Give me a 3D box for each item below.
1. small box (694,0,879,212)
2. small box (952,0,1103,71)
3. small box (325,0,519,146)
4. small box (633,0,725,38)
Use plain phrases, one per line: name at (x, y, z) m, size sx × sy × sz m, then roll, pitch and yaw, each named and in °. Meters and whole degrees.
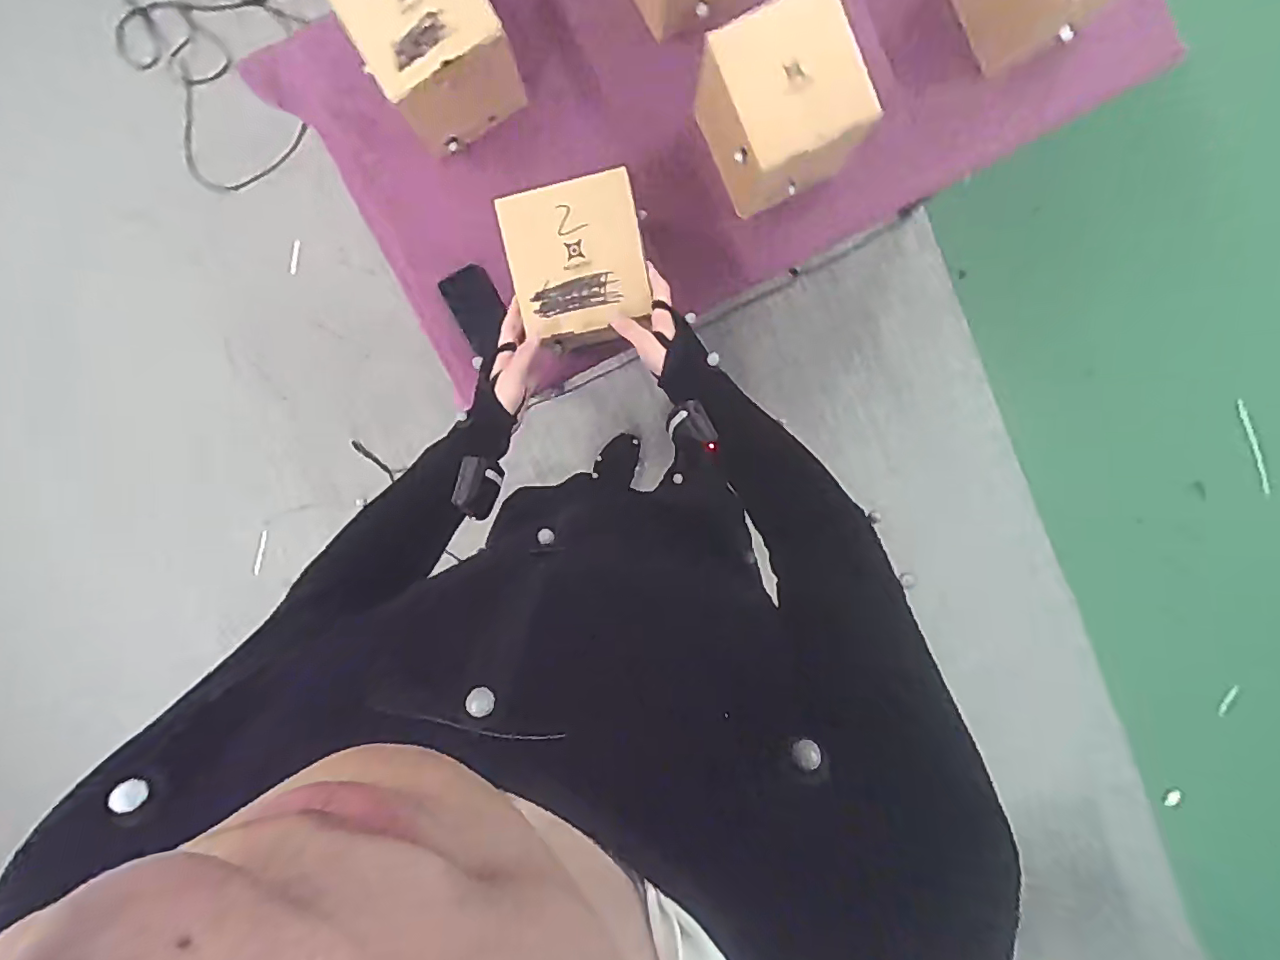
small box at (0.186, -0.509, 0.741) m, size 0.168 × 0.176 × 0.179 m, roll -25°, pitch 97°, yaw 3°
small box at (0.539, -0.706, 0.714) m, size 0.168 × 0.176 × 0.179 m, roll -28°, pitch 96°, yaw 4°
small box at (-0.285, -0.587, 0.723) m, size 0.168 × 0.176 × 0.179 m, roll -31°, pitch 97°, yaw 3°
small box at (0.049, -0.749, 0.706) m, size 0.168 × 0.176 × 0.179 m, roll -30°, pitch 98°, yaw 4°
